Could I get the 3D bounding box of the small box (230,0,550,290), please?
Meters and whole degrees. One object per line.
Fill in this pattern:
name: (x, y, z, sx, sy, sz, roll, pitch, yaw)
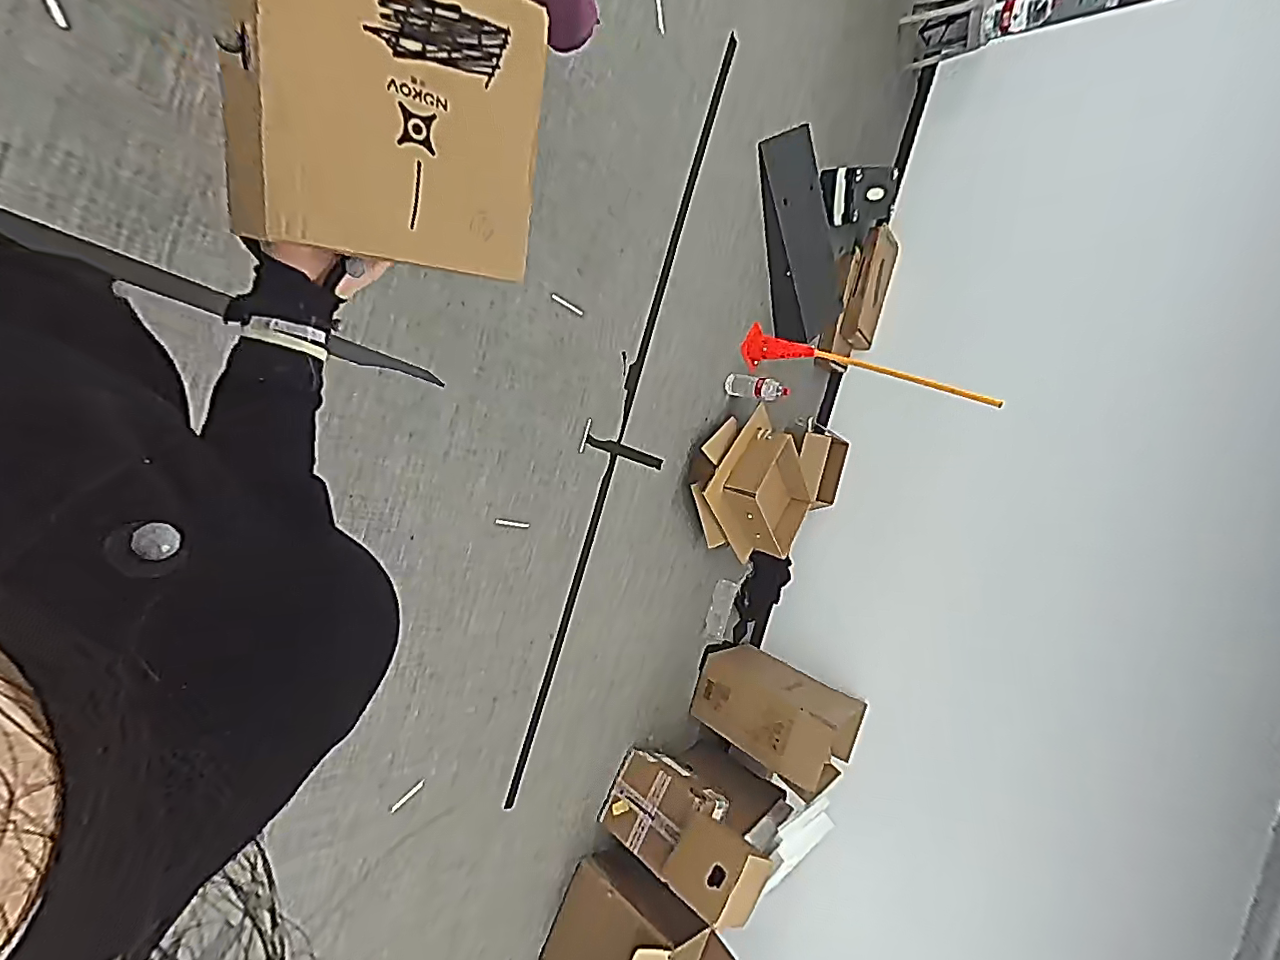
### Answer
small box: (-0.188, -0.250, 0.400, 0.168, 0.176, 0.179, -6, 113, -42)
